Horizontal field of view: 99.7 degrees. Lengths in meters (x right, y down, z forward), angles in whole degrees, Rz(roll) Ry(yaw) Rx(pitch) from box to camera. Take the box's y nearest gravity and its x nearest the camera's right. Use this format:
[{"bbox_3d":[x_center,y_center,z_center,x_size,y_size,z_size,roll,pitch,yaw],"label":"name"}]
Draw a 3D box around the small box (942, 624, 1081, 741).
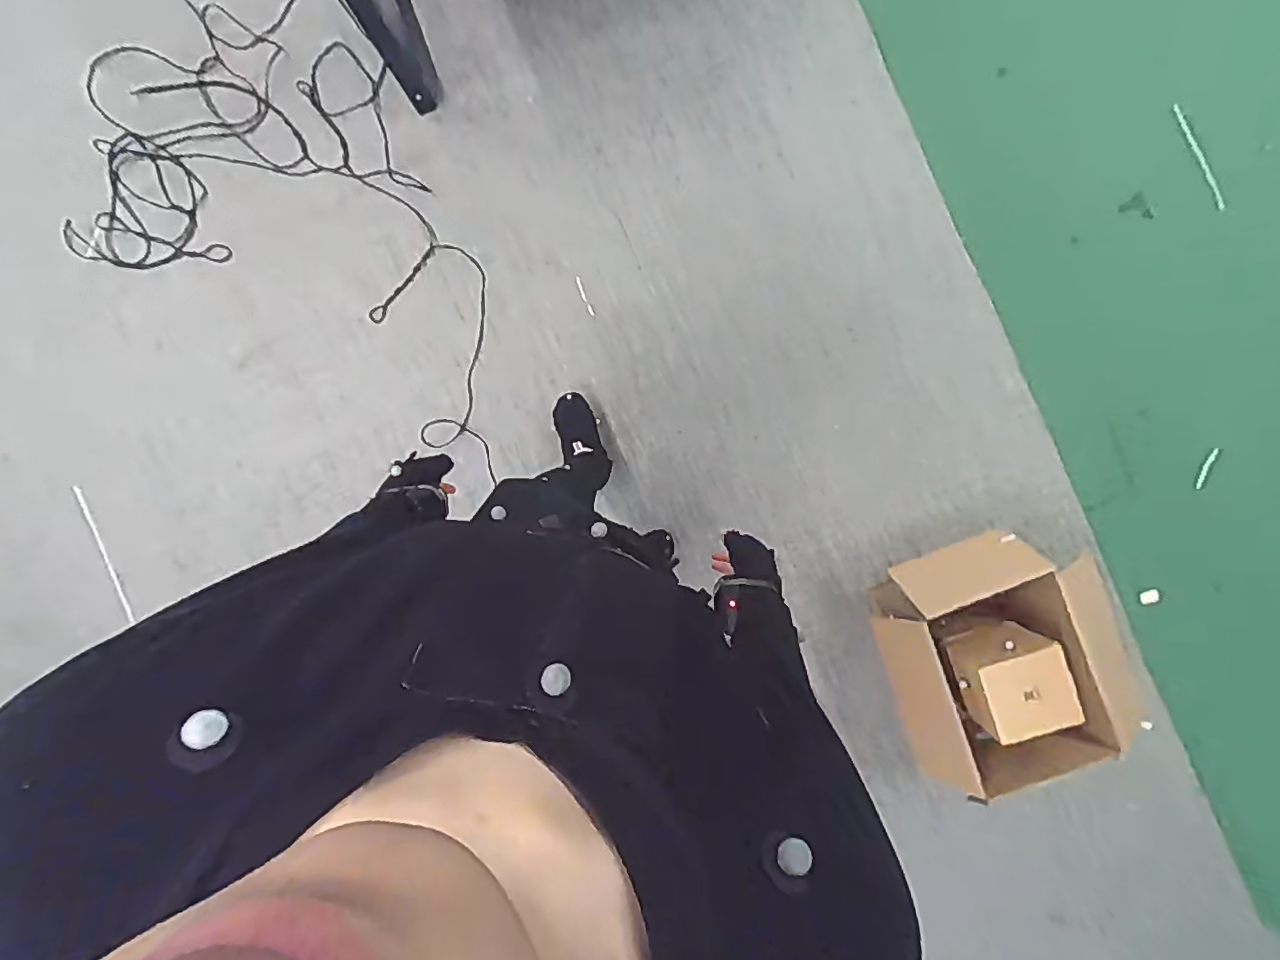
[{"bbox_3d":[0.797,0.435,1.185,0.179,0.176,0.168,-19,89,1],"label":"small box"}]
